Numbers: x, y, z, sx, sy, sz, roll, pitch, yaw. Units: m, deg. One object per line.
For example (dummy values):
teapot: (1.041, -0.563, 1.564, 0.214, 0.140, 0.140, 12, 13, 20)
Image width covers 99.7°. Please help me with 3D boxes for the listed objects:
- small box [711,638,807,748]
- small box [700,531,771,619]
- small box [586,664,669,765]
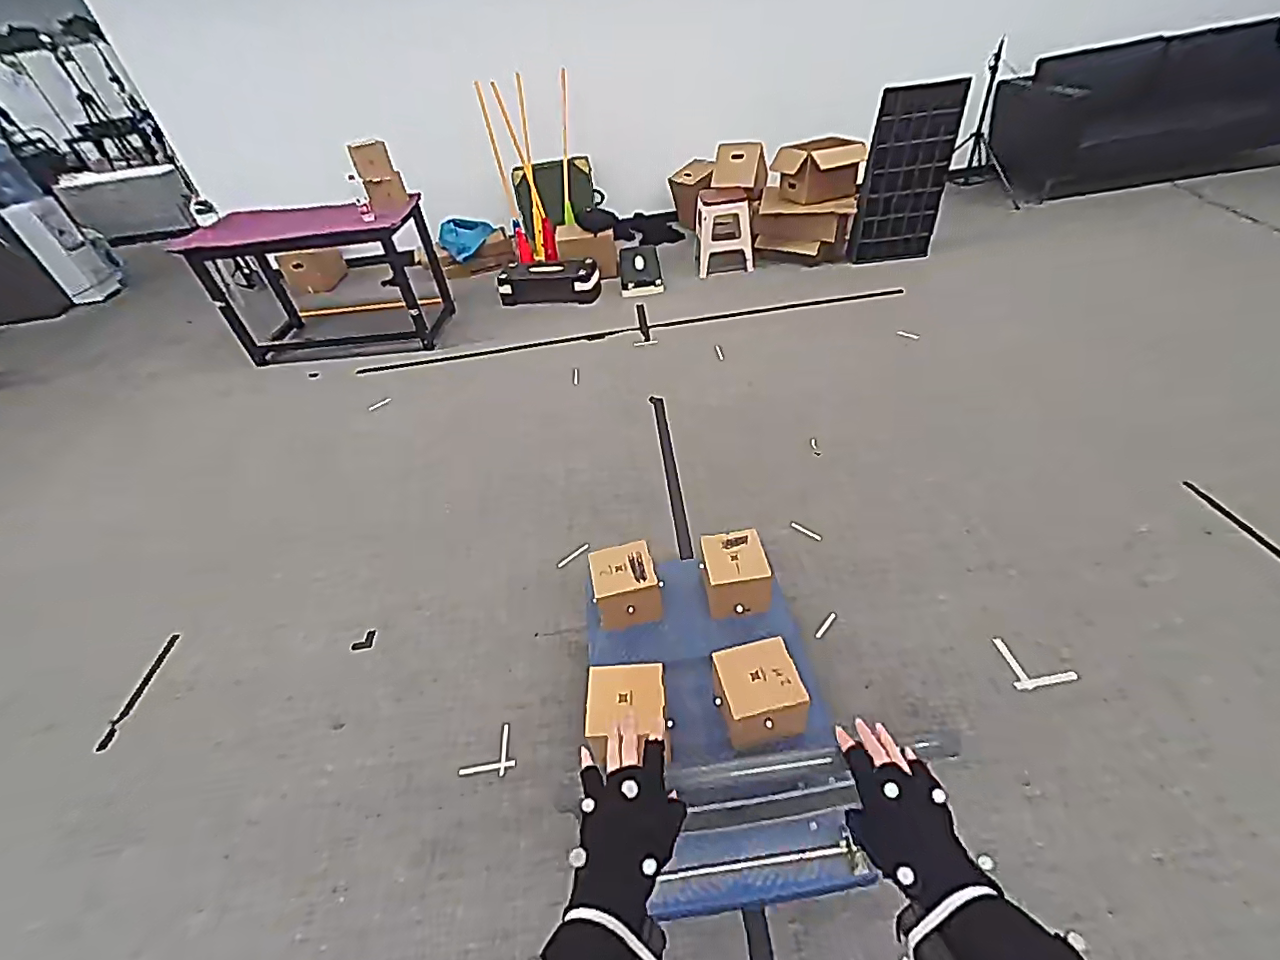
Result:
small box: (0.278, 0.509, 1.285, 0.179, 0.176, 0.168, -13, 42, -4)
small box: (0.268, 0.273, 1.551, 0.168, 0.176, 0.179, -9, 42, 0)
small box: (-0.025, 0.559, 1.281, 0.179, 0.176, 0.168, -4, 41, 3)
